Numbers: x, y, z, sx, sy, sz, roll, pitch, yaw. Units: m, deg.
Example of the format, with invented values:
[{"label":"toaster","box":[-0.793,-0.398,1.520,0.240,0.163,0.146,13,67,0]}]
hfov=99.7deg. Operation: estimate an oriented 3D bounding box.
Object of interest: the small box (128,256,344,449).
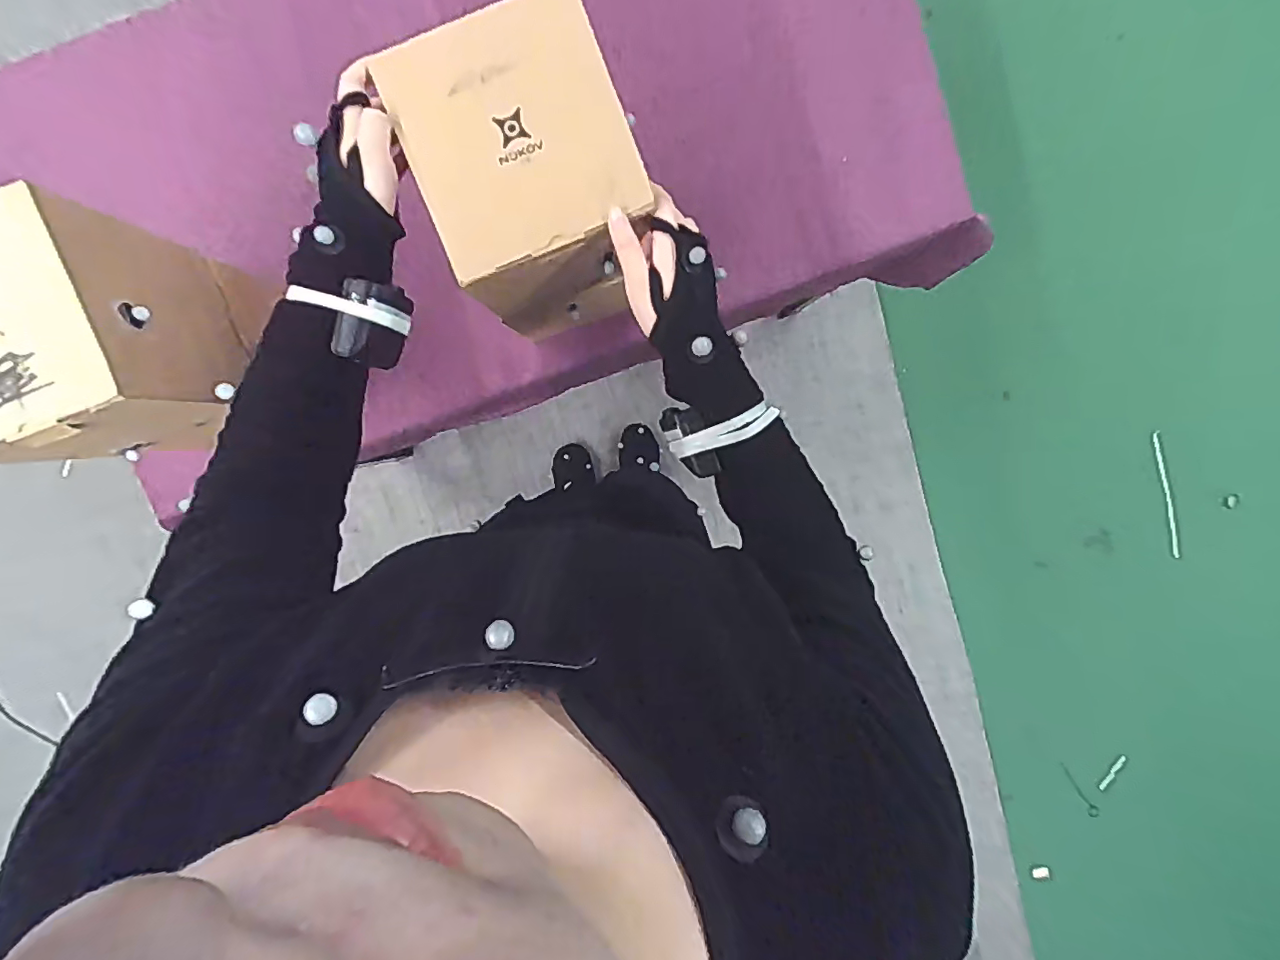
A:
[{"label":"small box","box":[-0.511,-0.143,0.662,0.179,0.176,0.168,-20,96,0]}]

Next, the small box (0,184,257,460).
[{"label":"small box","box":[-0.507,-0.127,0.499,0.168,0.176,0.179,-20,95,0]}]

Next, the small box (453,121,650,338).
[{"label":"small box","box":[-0.093,-0.282,0.652,0.179,0.176,0.168,-17,97,0]}]
